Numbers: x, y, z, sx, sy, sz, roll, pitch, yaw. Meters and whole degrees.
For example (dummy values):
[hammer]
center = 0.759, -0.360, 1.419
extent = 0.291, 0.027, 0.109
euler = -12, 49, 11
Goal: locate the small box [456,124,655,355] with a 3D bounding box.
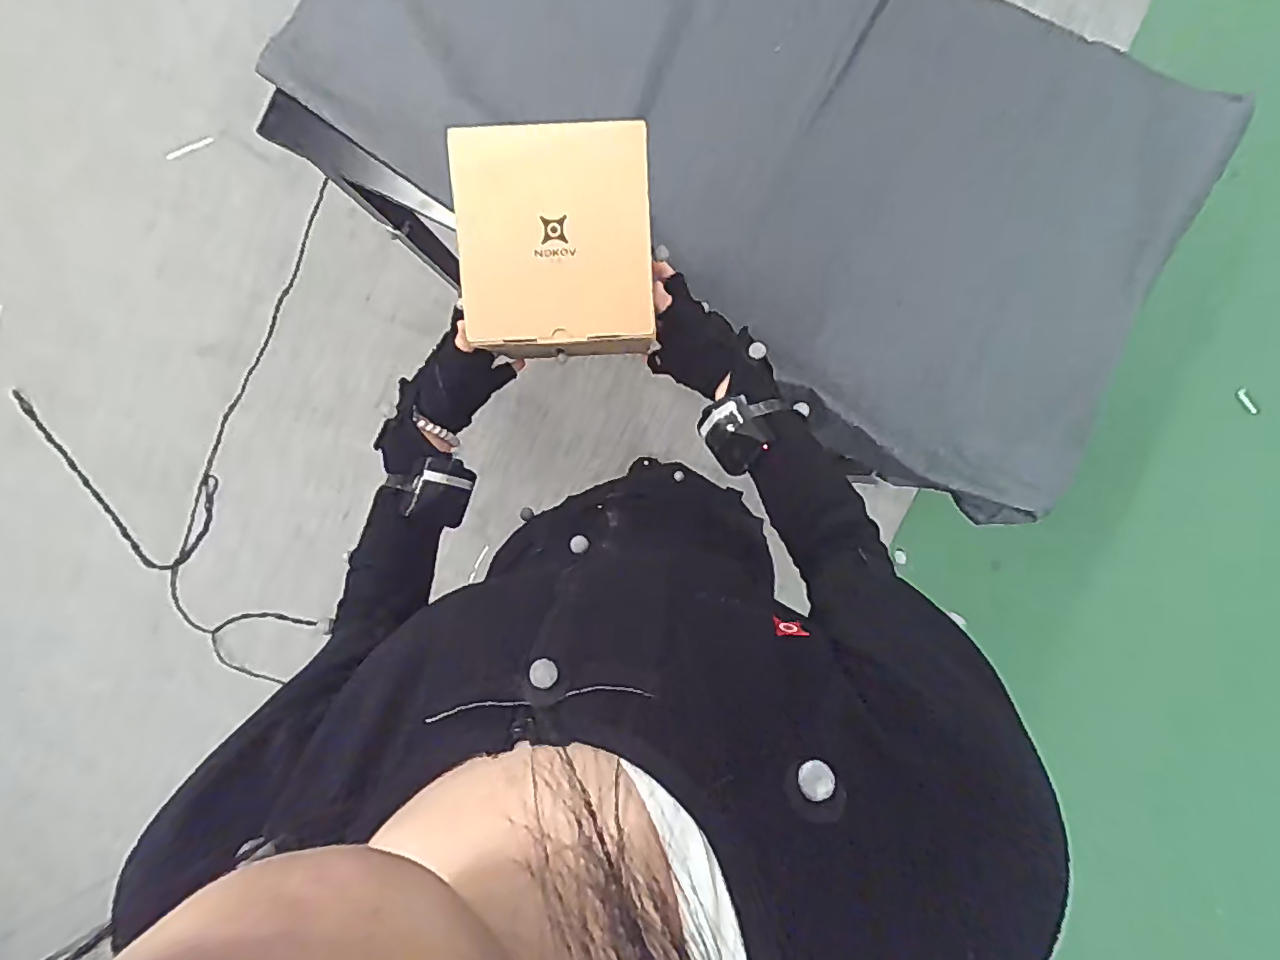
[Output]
[small box]
center = -0.074, -0.225, 0.547
extent = 0.168, 0.176, 0.179
euler = -3, 100, -1
